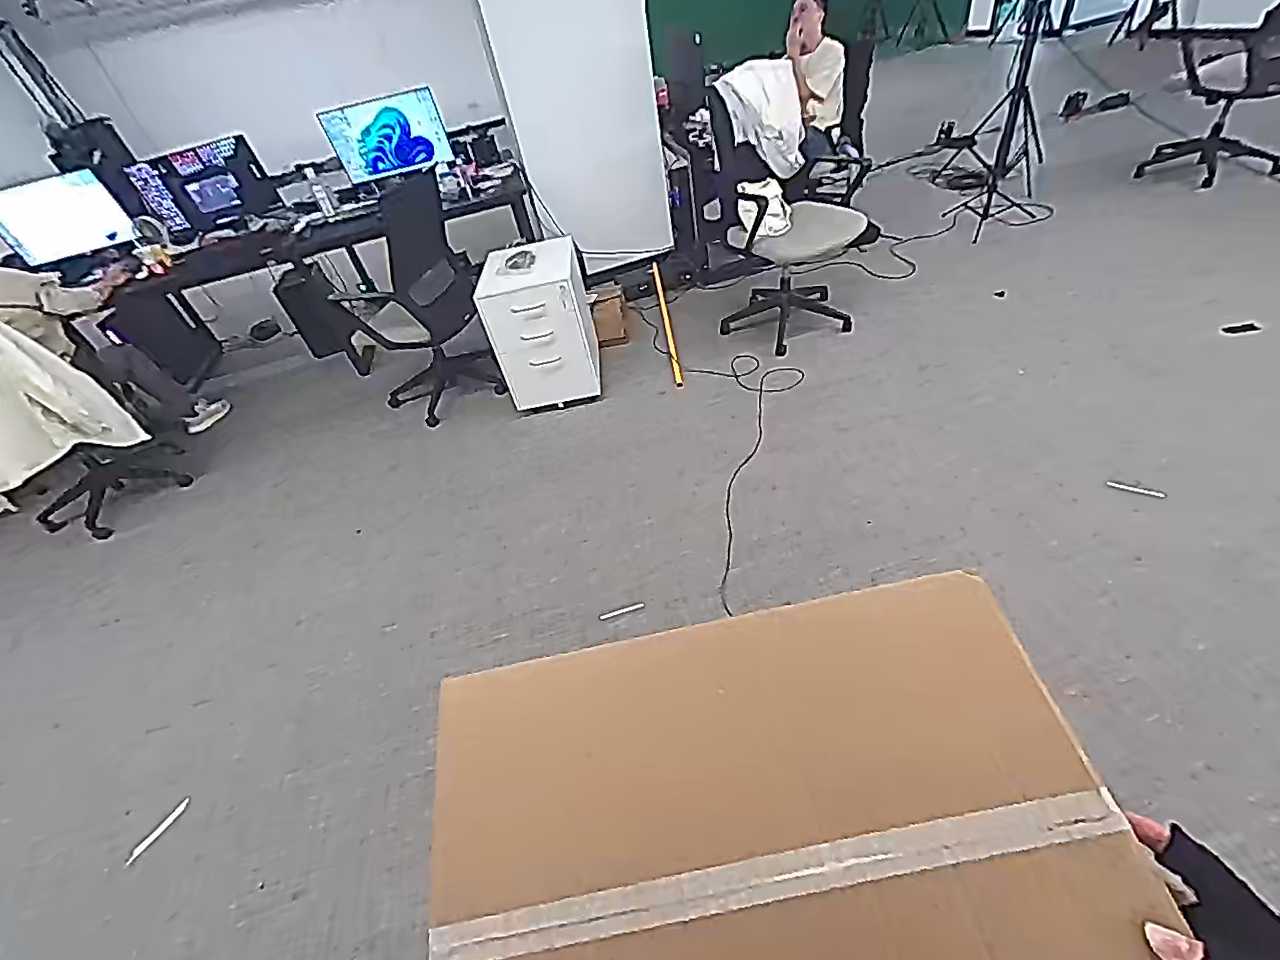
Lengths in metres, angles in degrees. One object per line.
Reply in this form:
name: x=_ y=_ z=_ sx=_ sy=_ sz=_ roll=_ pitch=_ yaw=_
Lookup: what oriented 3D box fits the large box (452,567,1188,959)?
large box: x=0.099 y=0.315 z=0.448 sx=0.408 sy=0.320 sz=0.320 roll=-13 pitch=56 yaw=2
